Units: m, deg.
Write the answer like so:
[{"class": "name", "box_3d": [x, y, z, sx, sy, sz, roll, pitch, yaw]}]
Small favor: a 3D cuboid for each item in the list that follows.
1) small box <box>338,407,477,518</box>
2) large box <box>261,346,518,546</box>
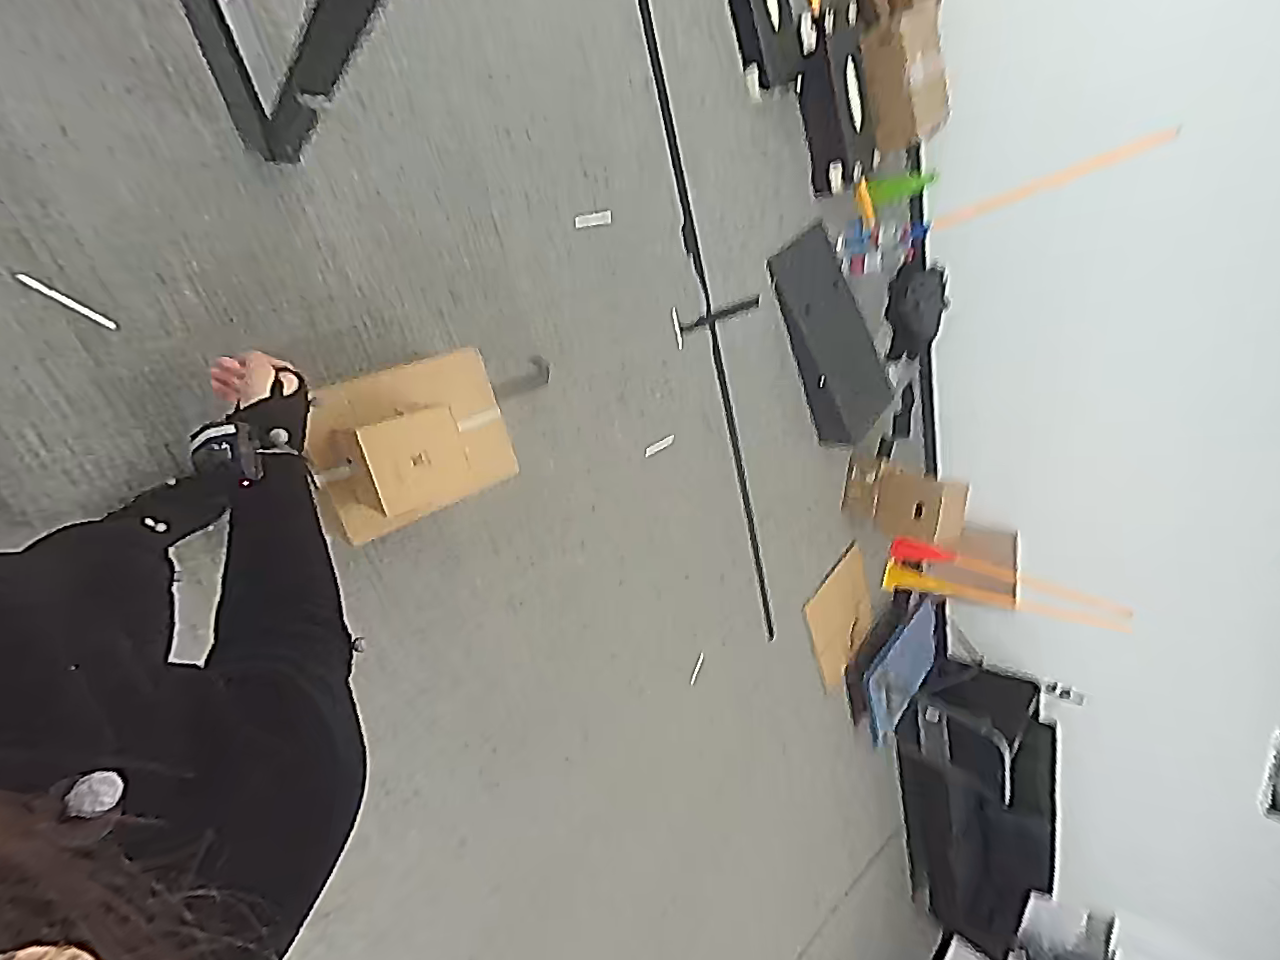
[{"class": "small box", "box_3d": [-0.448, -0.043, 1.041, 0.179, 0.176, 0.168, -25, 111, -37]}, {"class": "large box", "box_3d": [-0.570, -0.097, 1.256, 0.408, 0.320, 0.320, -30, 116, -36]}]
